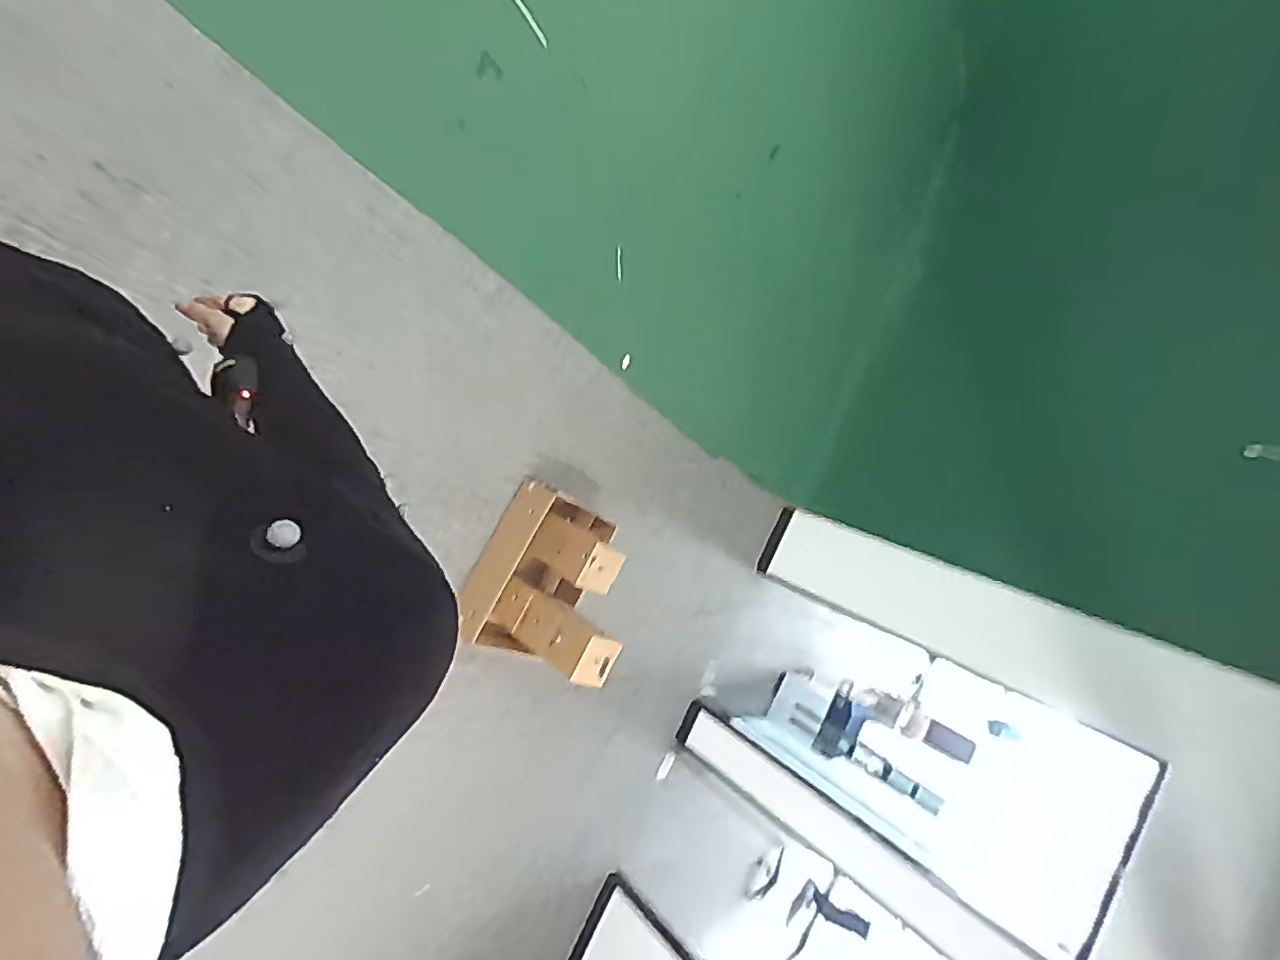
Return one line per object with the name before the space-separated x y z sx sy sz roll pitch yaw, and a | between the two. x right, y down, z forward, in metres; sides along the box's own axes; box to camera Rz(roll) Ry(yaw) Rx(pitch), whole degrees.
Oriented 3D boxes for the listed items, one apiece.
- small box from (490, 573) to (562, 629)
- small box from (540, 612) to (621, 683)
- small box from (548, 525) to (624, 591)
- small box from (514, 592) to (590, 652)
small box | -0.438 0.472 2.061 0.179 0.176 0.168 36 80 -48
small box | -0.206 0.571 1.849 0.179 0.176 0.168 35 80 -48
small box | -0.199 0.281 1.970 0.179 0.176 0.168 33 83 -49
small box | -0.322 0.522 1.955 0.179 0.176 0.168 36 80 -49
